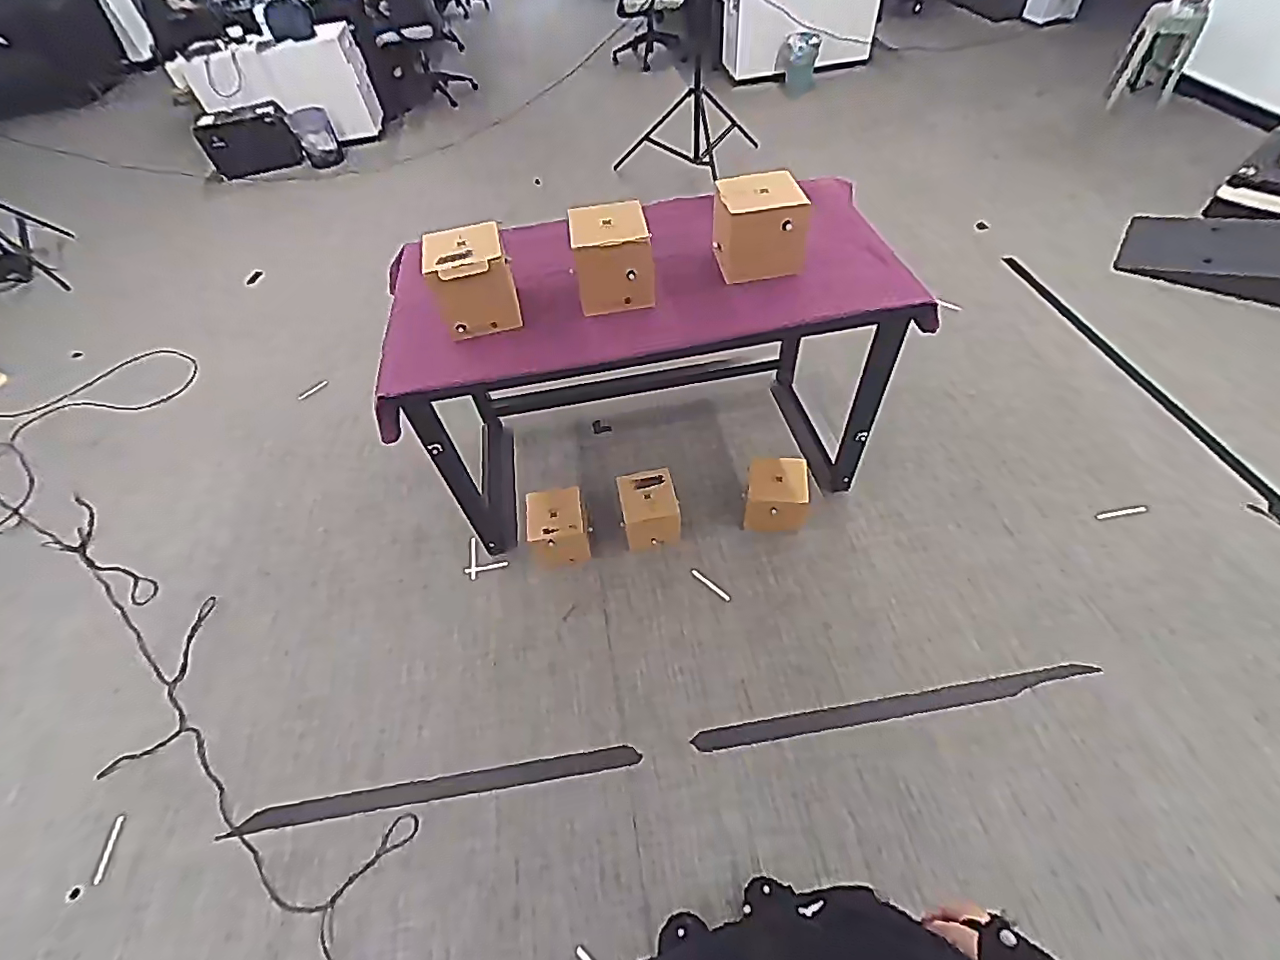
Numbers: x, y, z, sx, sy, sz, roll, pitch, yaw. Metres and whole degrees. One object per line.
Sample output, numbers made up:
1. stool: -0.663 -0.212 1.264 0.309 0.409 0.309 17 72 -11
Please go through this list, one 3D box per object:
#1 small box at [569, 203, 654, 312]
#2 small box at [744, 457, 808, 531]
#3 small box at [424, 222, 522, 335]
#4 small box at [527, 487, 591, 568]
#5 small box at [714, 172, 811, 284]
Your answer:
1. small box: -0.064 -0.497 1.225 0.168 0.176 0.179 -9 50 -2
2. small box: 0.418 0.048 1.682 0.179 0.176 0.168 3 54 9
3. small box: -0.370 -0.442 1.210 0.168 0.176 0.179 -14 51 -5
4. small box: -0.248 0.148 1.670 0.168 0.176 0.179 -8 51 -1
5. small box: 0.274 -0.580 1.253 0.179 0.176 0.168 -9 52 -1
